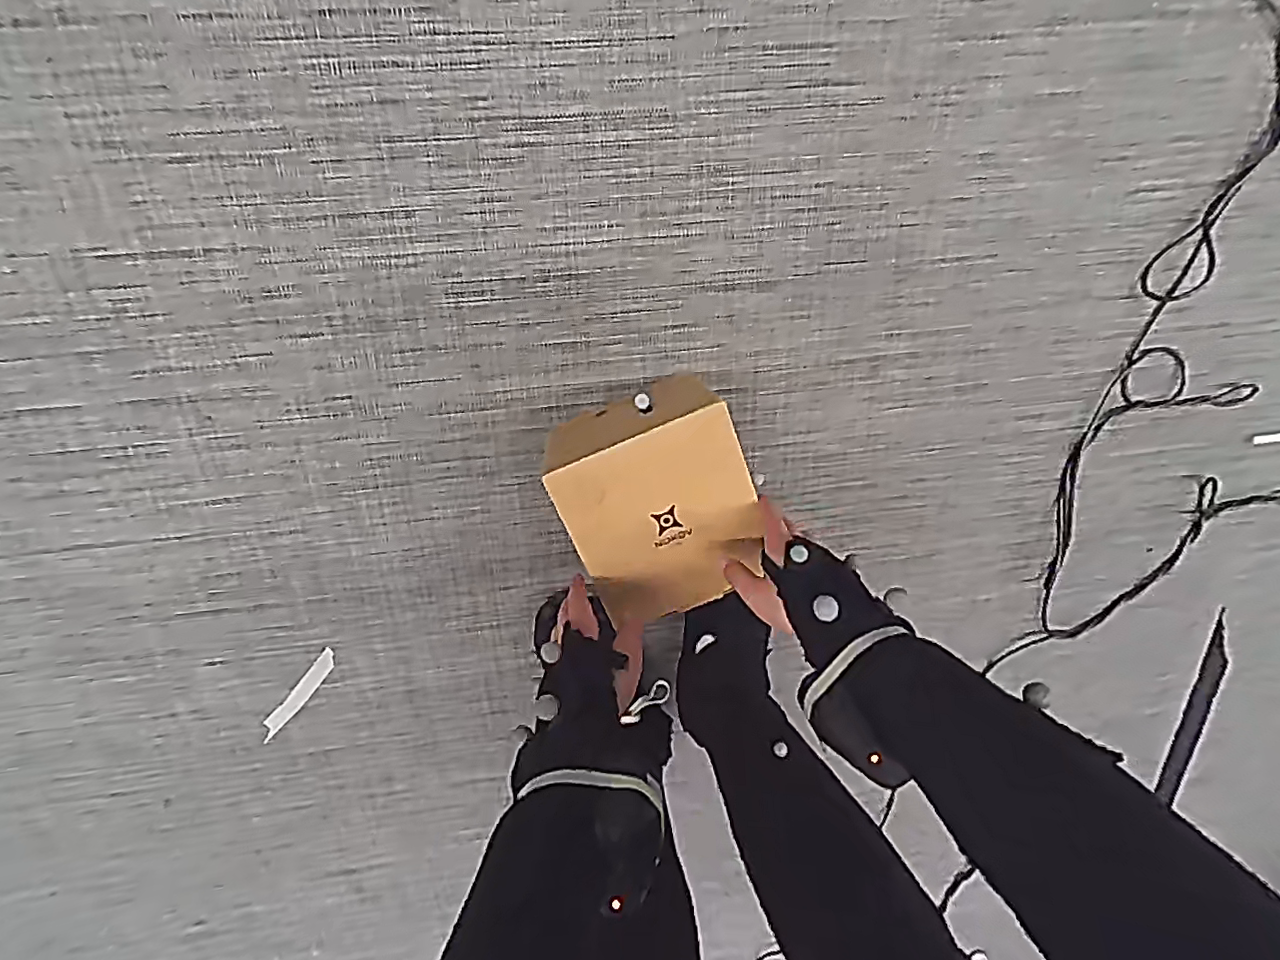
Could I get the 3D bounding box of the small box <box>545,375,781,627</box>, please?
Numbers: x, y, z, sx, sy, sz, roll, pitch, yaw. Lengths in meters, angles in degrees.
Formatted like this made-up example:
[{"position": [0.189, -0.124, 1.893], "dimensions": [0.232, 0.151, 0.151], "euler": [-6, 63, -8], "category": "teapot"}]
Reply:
[{"position": [0.015, 0.006, 0.542], "dimensions": [0.168, 0.176, 0.179], "euler": [-23, 111, 1], "category": "small box"}]
